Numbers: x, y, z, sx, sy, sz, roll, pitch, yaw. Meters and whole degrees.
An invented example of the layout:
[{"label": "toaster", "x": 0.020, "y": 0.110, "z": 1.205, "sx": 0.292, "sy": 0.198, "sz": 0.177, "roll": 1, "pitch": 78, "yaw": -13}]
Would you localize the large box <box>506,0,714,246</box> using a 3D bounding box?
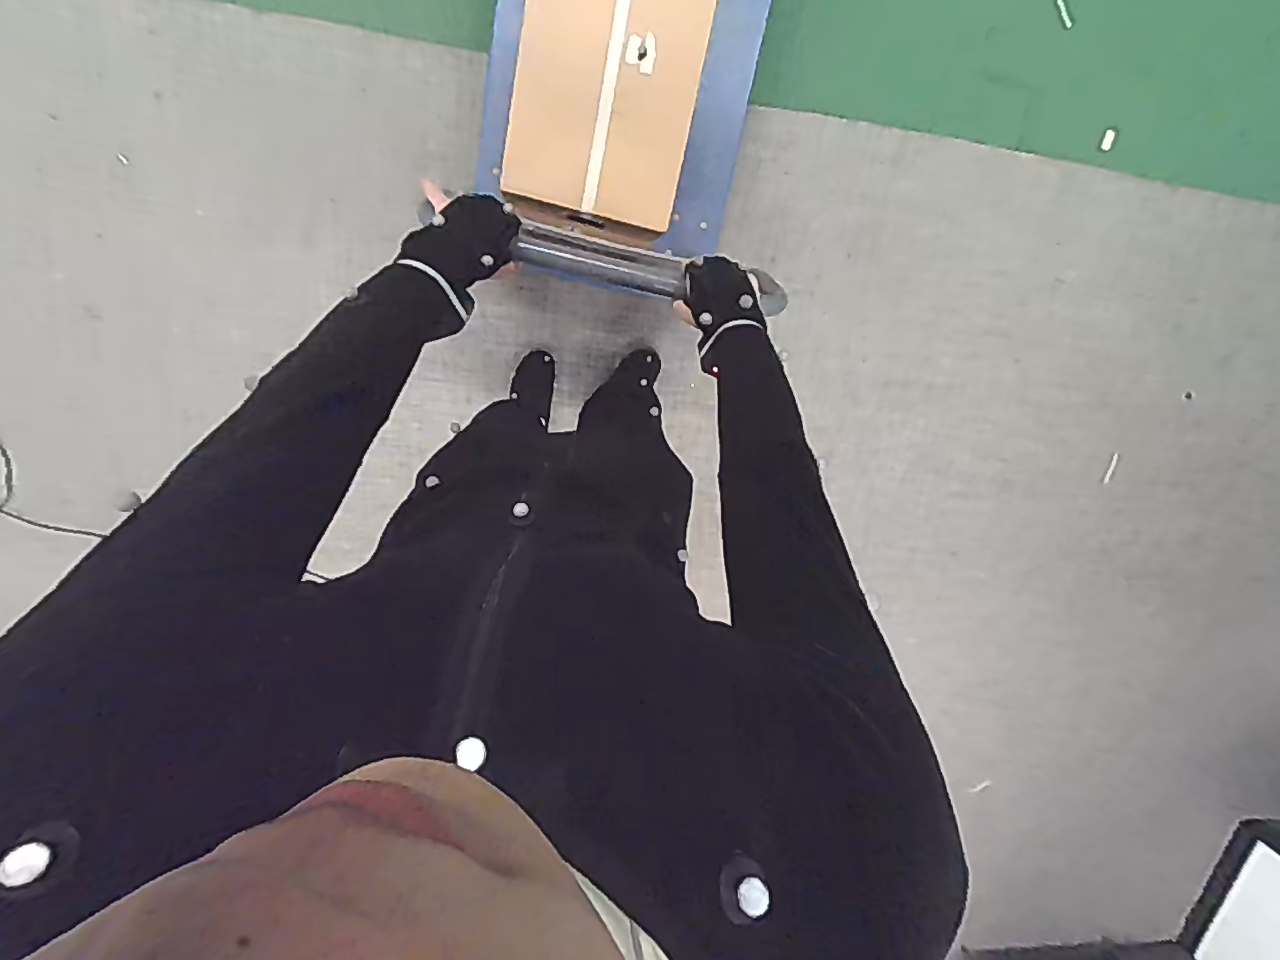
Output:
[{"label": "large box", "x": -0.072, "y": -0.733, "z": 1.092, "sx": 0.320, "sy": 0.320, "sz": 0.408, "roll": 10, "pitch": 105, "yaw": -11}]
